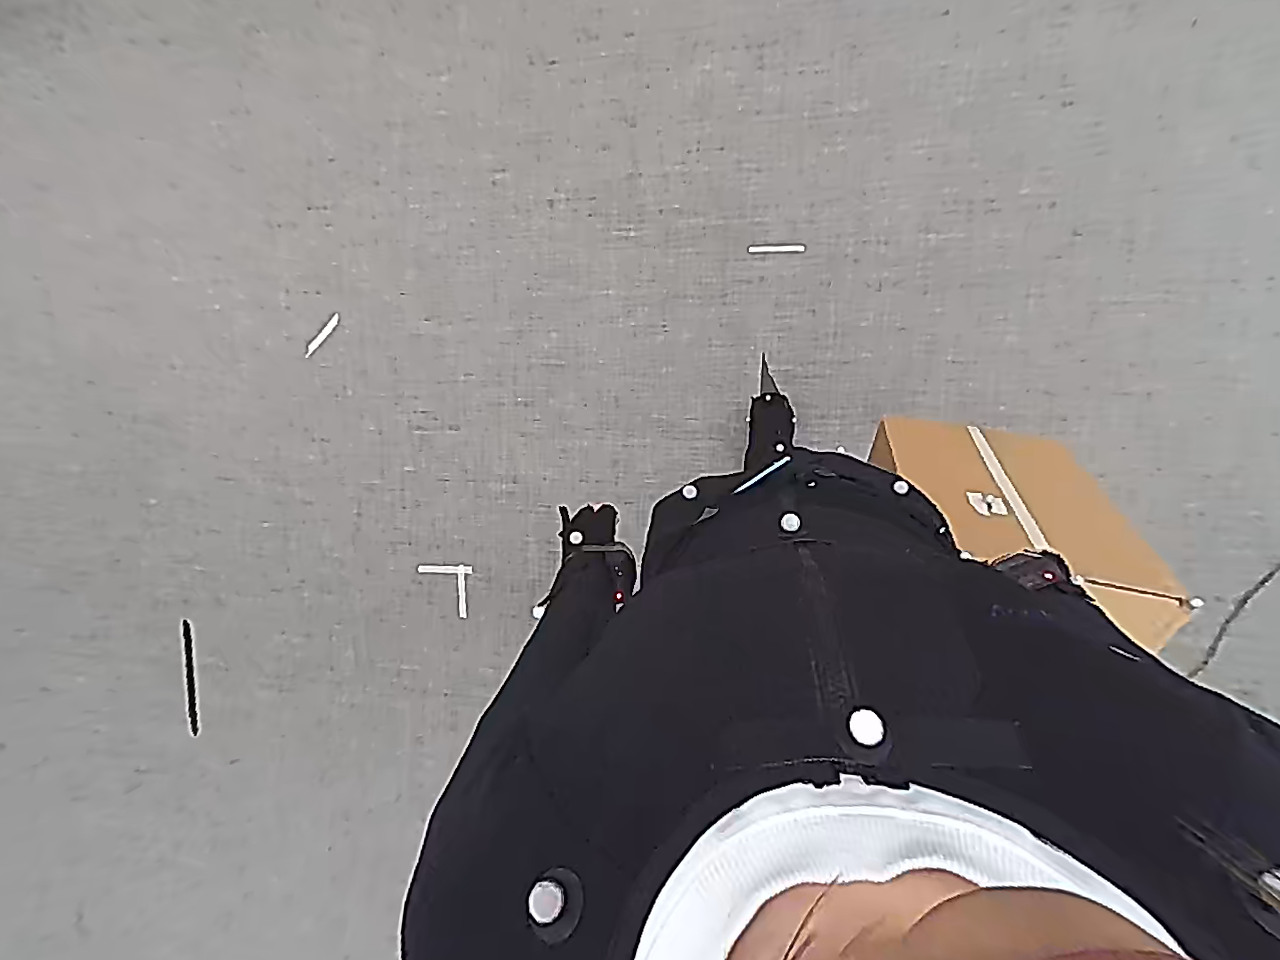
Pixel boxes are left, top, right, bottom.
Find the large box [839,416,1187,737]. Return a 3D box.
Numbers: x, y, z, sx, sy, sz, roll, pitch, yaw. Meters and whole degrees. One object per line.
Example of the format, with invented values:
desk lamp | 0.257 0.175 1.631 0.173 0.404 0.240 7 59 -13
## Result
large box | 0.545 0.138 0.915 0.320 0.408 0.320 10 126 10
